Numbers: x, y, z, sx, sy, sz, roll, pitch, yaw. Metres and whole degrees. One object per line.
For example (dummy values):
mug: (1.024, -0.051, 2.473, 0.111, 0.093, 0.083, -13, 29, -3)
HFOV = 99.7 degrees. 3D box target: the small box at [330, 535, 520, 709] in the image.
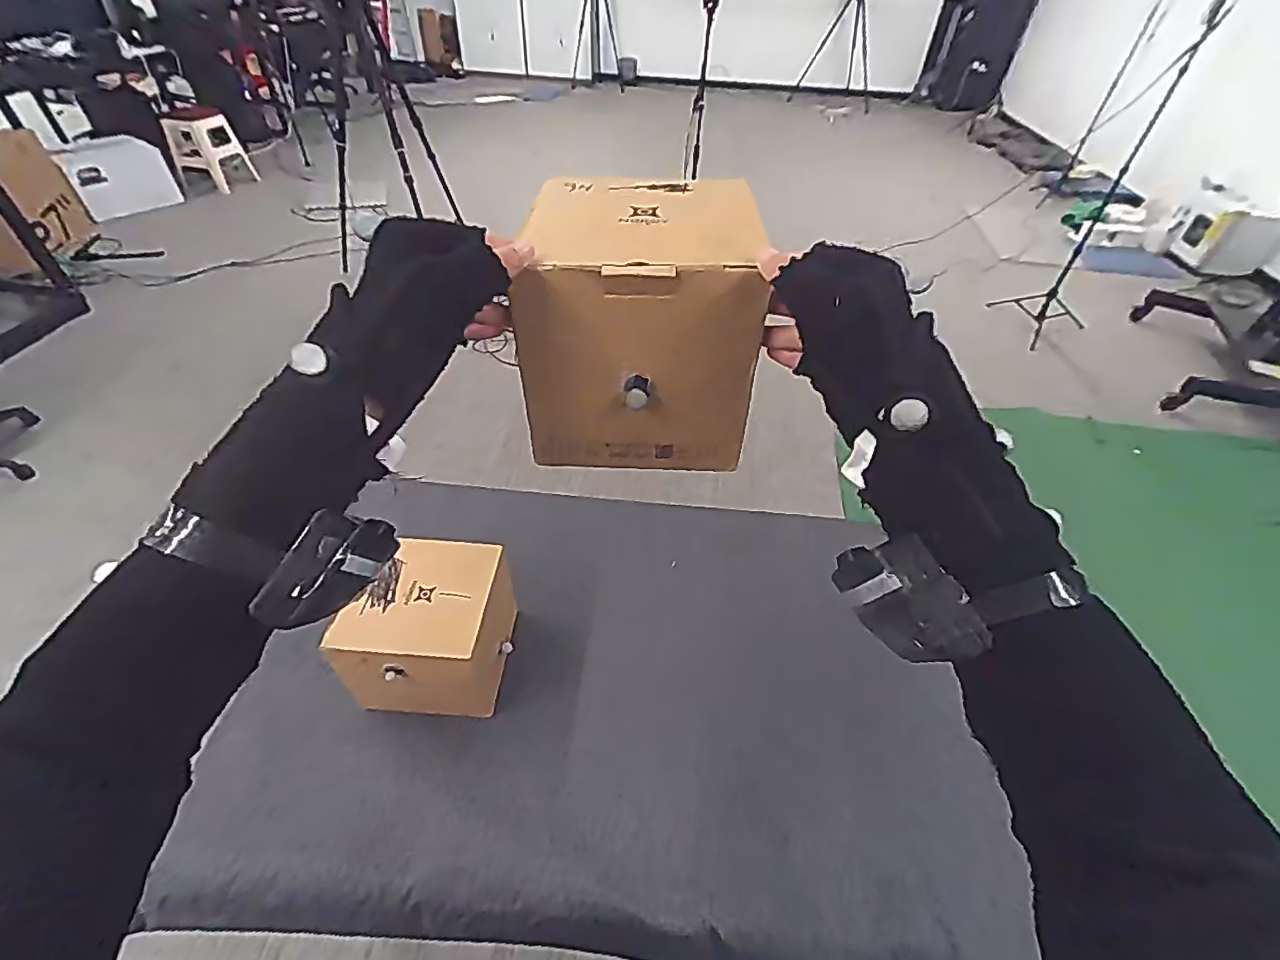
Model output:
small box: (-0.272, 0.195, 0.734, 0.179, 0.176, 0.168, 5, 46, 0)

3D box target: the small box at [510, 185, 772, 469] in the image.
small box: (0.005, -0.124, 0.444, 0.168, 0.176, 0.179, 2, 45, 2)
